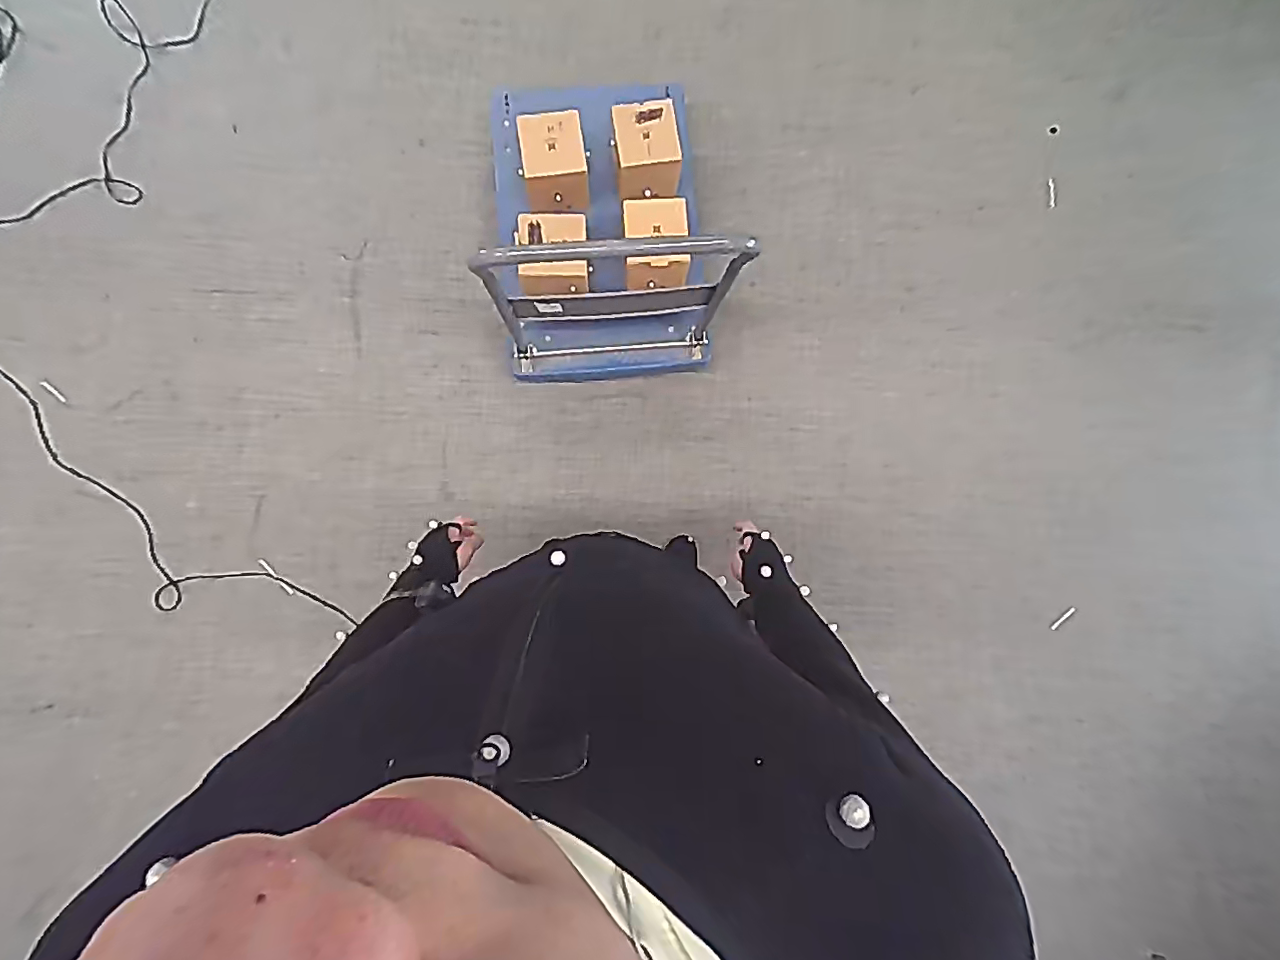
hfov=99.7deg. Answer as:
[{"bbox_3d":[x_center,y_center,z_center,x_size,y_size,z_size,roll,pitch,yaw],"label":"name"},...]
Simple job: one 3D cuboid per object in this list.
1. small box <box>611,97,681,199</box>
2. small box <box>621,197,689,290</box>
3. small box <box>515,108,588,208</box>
[{"bbox_3d":[0.011,-0.909,1.494,0.168,0.176,0.179,-8,87,-3],"label":"small box"},{"bbox_3d":[0.036,-0.641,1.474,0.168,0.176,0.179,-4,86,-3],"label":"small box"},{"bbox_3d":[-0.237,-0.870,1.479,0.168,0.176,0.179,-8,86,-4],"label":"small box"}]
